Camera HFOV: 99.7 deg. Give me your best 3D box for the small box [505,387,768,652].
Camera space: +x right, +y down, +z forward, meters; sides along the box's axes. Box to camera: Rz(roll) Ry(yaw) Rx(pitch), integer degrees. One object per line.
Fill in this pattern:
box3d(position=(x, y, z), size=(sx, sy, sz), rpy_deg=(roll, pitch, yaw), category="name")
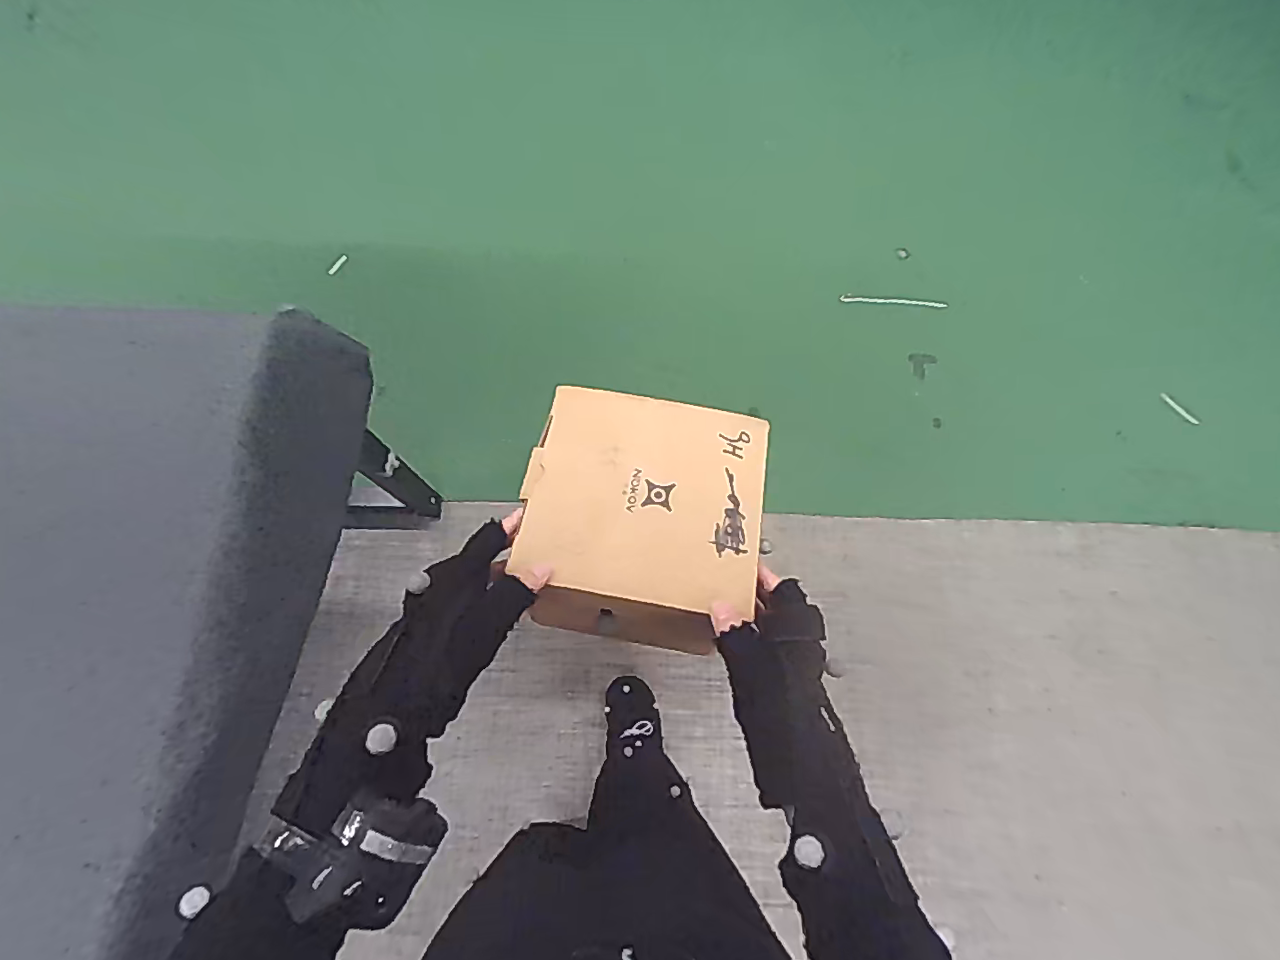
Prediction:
box3d(position=(0.001, 0.045, 0.480), size=(0.179, 0.176, 0.168), rpy_deg=(11, 64, 2), category="small box")
